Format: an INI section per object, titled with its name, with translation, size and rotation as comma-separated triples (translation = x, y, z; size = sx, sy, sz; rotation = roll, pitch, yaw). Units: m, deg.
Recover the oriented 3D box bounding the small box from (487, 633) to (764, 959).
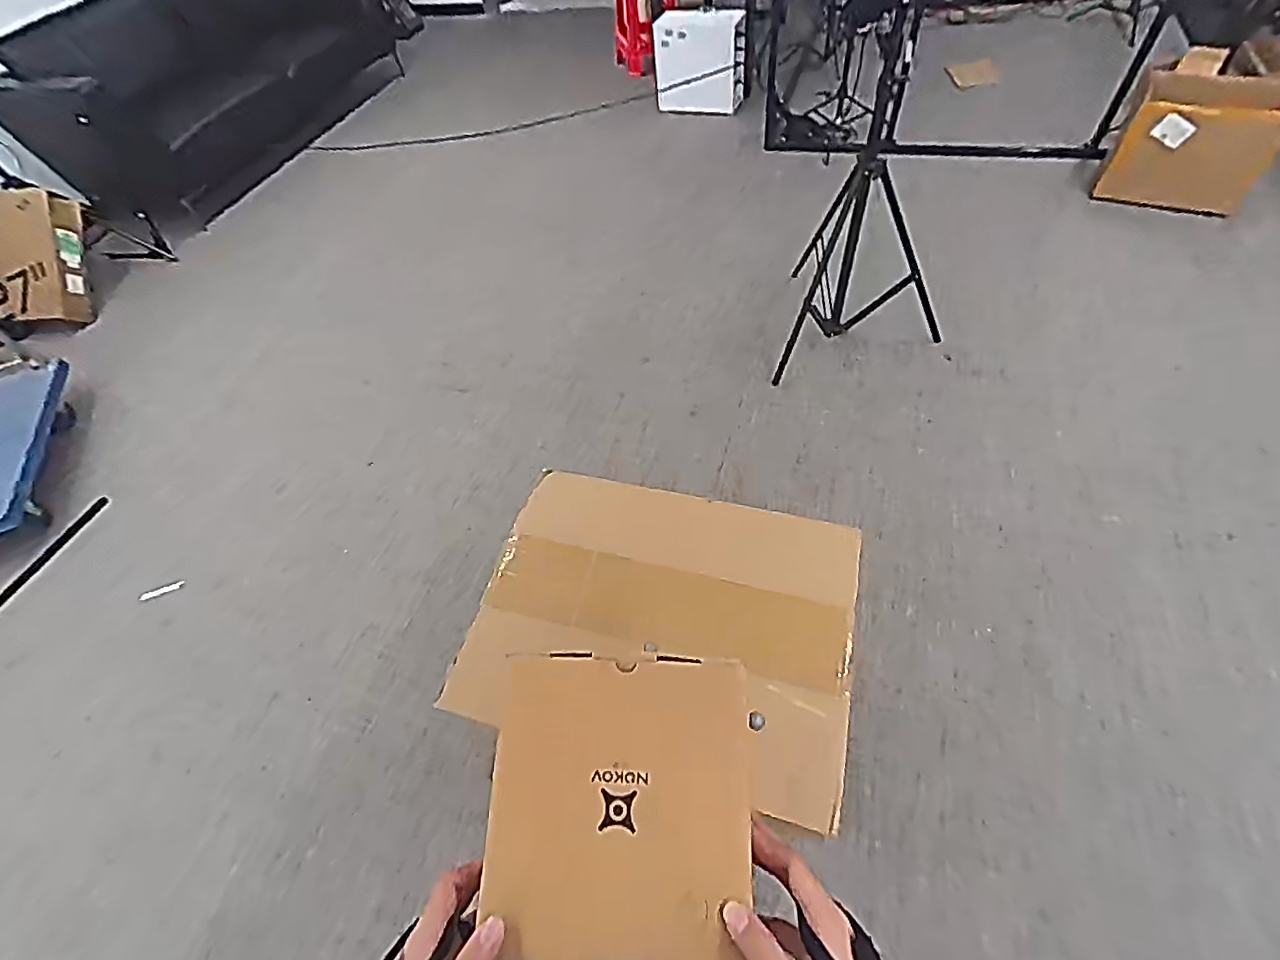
[small box]
translation = -0.001, 0.215, 0.412
size = 0.168, 0.176, 0.179
rotation = 1, 70, 3
